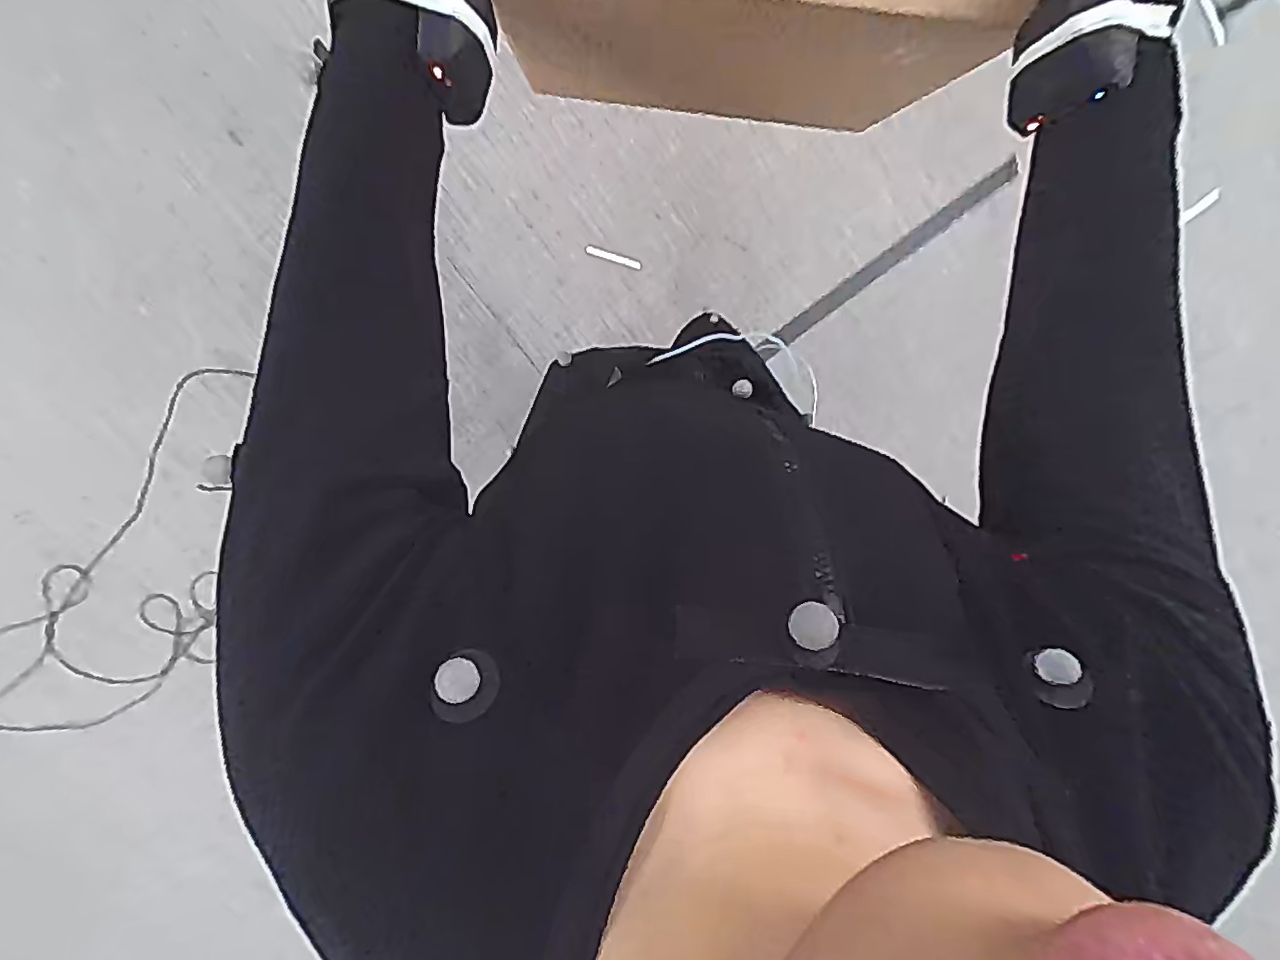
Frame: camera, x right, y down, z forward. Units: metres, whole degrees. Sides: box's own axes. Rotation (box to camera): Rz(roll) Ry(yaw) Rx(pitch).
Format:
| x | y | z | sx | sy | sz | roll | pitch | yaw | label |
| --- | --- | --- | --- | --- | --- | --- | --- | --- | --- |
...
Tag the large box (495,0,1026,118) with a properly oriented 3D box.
| x | y | z | sx | sy | sz | roll | pitch | yaw | label |
| --- | --- | --- | --- | --- | --- | --- | --- | --- | --- |
| 0.082 | -0.540 | 0.461 | 0.408 | 0.320 | 0.320 | 3 | 112 | -4 | large box |
